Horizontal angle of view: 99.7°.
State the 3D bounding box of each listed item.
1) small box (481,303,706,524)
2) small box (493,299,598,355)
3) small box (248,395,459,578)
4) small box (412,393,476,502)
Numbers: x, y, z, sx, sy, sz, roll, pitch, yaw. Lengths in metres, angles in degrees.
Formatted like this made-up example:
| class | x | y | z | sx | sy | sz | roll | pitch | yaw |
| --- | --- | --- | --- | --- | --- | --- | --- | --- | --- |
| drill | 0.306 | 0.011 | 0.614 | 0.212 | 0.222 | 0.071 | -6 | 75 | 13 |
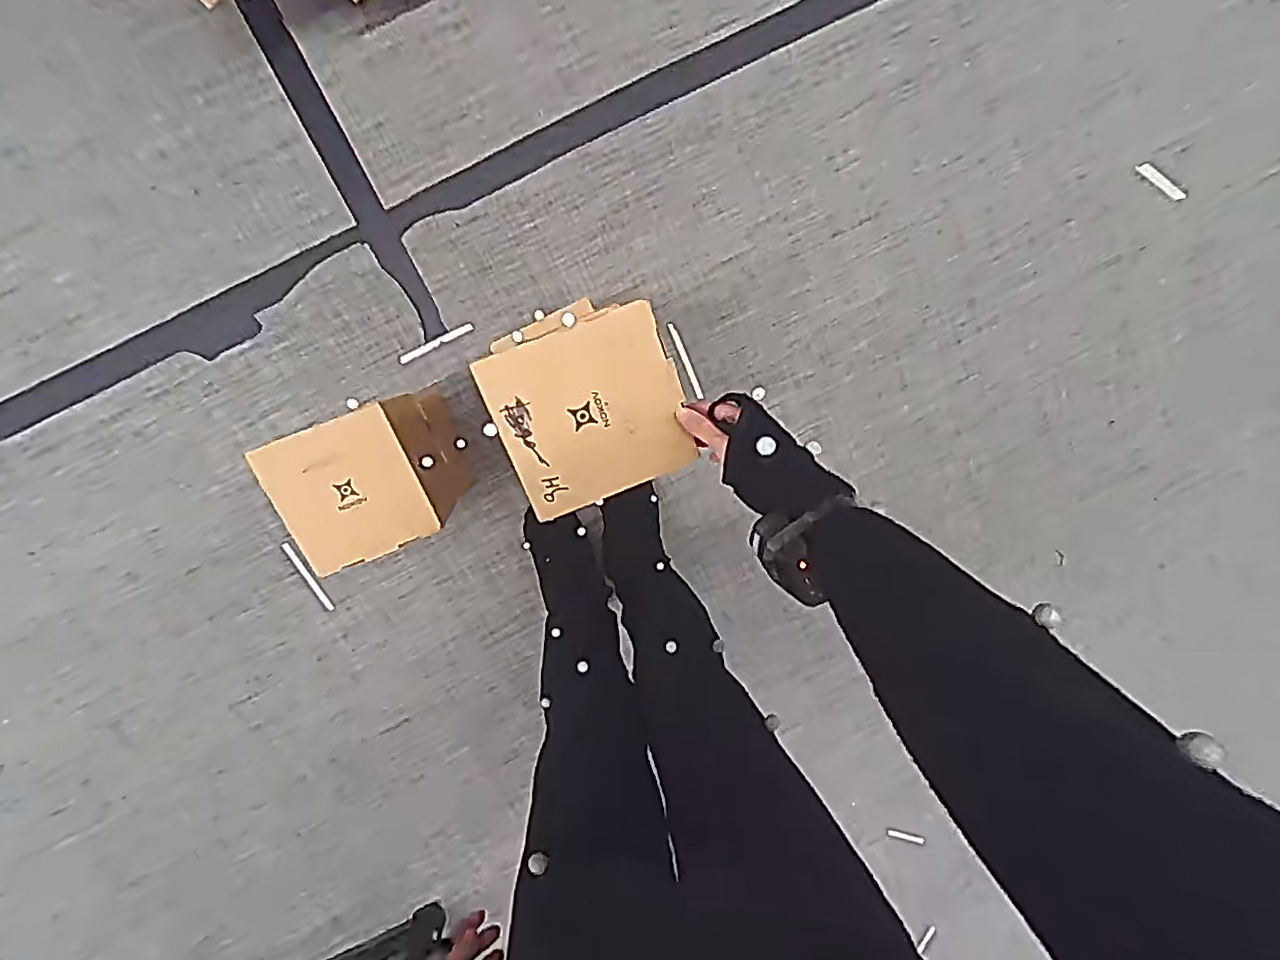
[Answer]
| class | x | y | z | sx | sy | sz | roll | pitch | yaw |
| --- | --- | --- | --- | --- | --- | --- | --- | --- | --- |
| small box | -0.053 | -0.080 | 0.582 | 0.179 | 0.176 | 0.168 | -22 | 107 | -5 |
| small box | -0.121 | -0.178 | 0.889 | 0.168 | 0.176 | 0.179 | -27 | 107 | -3 |
| small box | -0.361 | -0.002 | 0.725 | 0.168 | 0.176 | 0.179 | -23 | 106 | -5 |
| small box | -0.388 | -0.034 | 0.882 | 0.179 | 0.176 | 0.168 | -21 | 107 | -4 |
